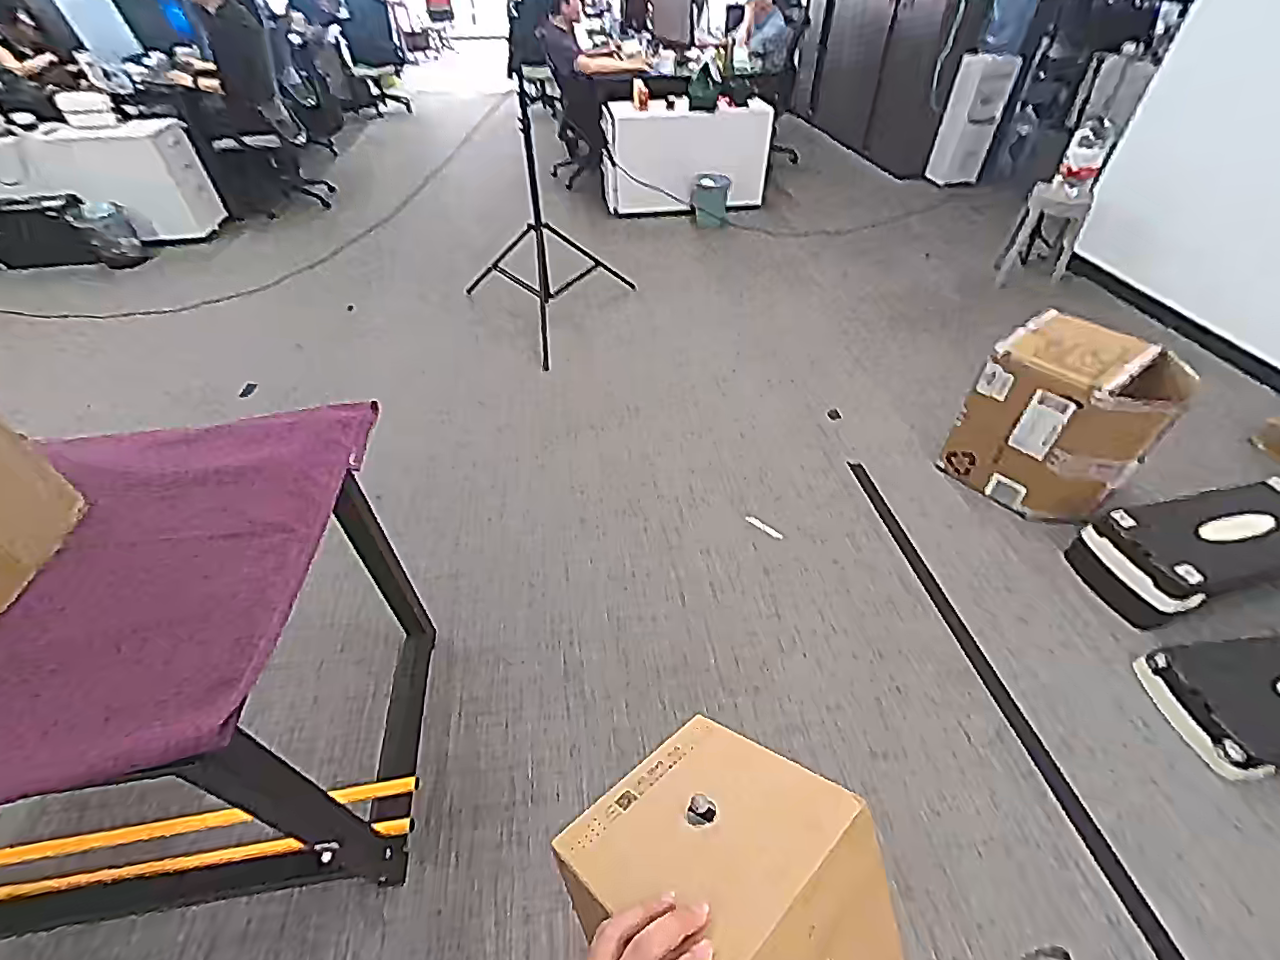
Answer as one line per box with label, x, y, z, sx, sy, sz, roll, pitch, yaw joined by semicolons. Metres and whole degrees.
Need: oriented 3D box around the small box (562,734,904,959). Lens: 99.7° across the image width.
small box;0.065;0.321;0.403;0.168;0.179;0.176;-25;15;-34
